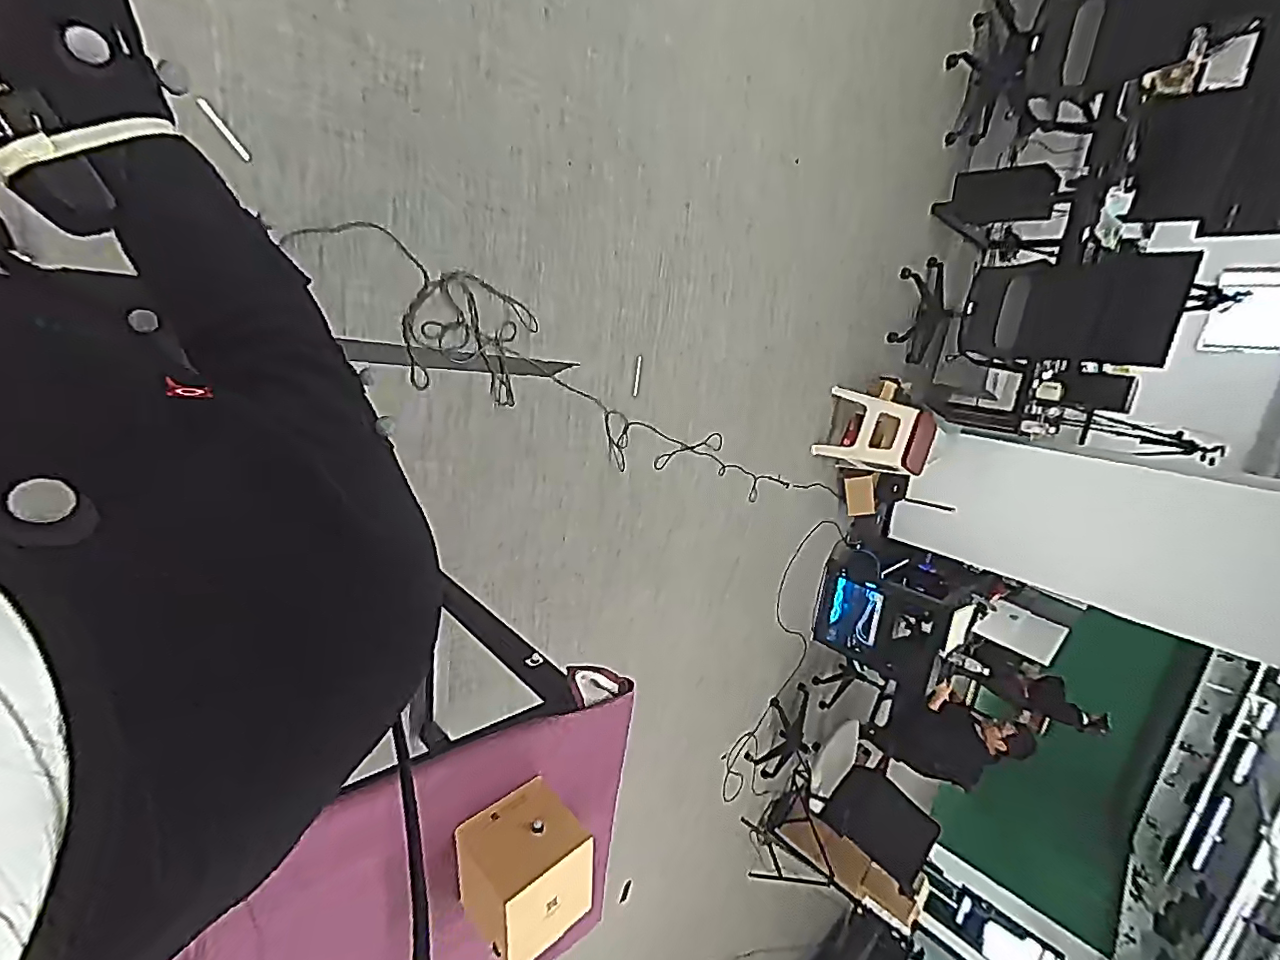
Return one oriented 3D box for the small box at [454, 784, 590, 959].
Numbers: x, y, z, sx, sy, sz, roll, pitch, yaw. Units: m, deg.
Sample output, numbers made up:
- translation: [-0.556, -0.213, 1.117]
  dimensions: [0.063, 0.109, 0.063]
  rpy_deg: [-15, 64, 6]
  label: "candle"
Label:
- translation: [-0.202, 0.659, 0.919]
  dimensions: [0.168, 0.176, 0.179]
  rpy_deg: [-14, 115, -42]
  label: "small box"
